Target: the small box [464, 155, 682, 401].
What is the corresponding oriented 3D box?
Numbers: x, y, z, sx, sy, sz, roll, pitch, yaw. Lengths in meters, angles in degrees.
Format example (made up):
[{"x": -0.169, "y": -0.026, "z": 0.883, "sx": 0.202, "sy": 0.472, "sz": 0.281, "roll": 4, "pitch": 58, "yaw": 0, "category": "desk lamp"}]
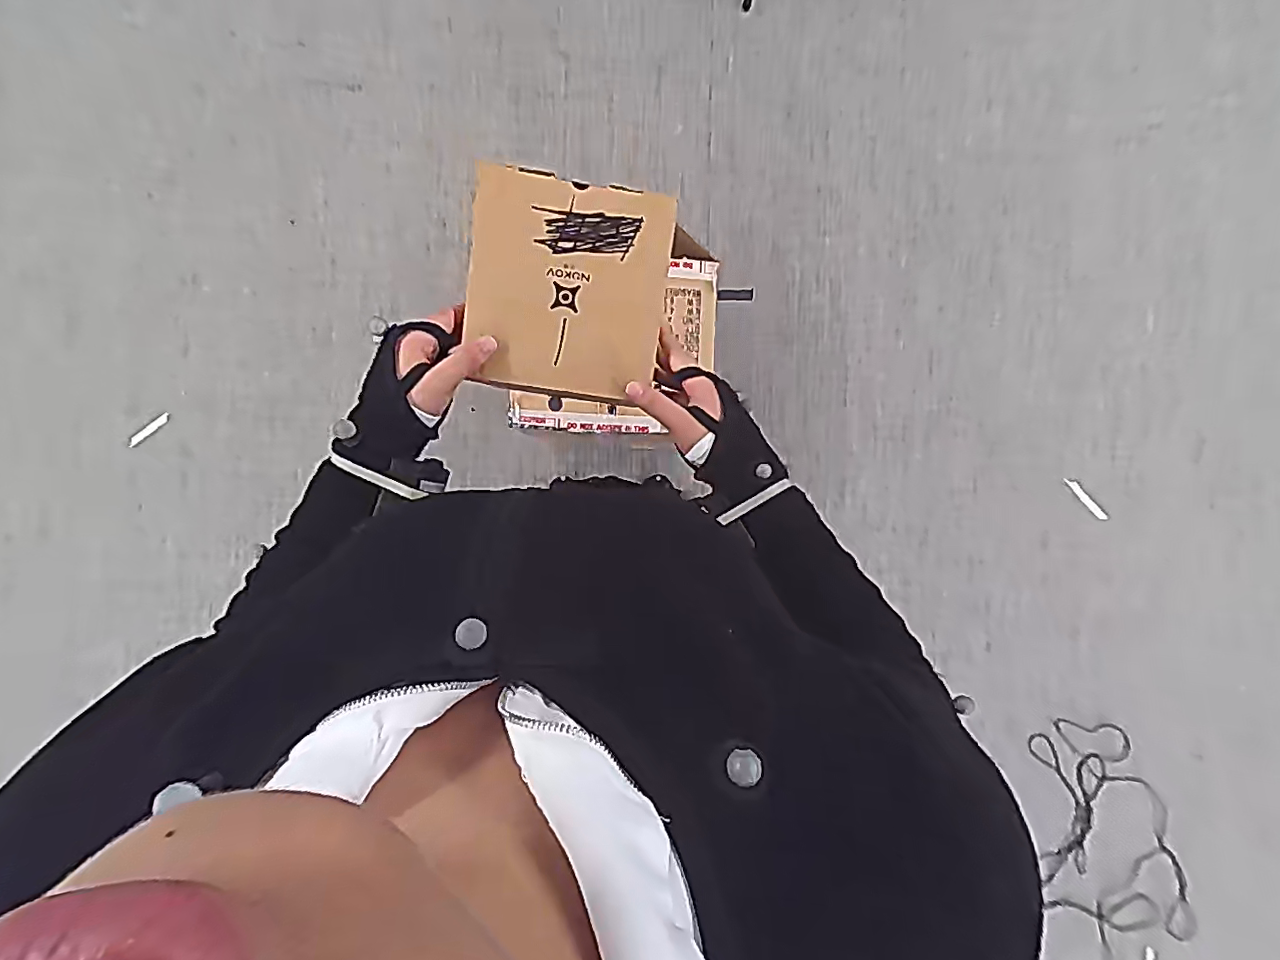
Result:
[{"x": -0.064, "y": -0.178, "z": 0.535, "sx": 0.168, "sy": 0.176, "sz": 0.179, "roll": 8, "pitch": 96, "yaw": -6, "category": "small box"}]
